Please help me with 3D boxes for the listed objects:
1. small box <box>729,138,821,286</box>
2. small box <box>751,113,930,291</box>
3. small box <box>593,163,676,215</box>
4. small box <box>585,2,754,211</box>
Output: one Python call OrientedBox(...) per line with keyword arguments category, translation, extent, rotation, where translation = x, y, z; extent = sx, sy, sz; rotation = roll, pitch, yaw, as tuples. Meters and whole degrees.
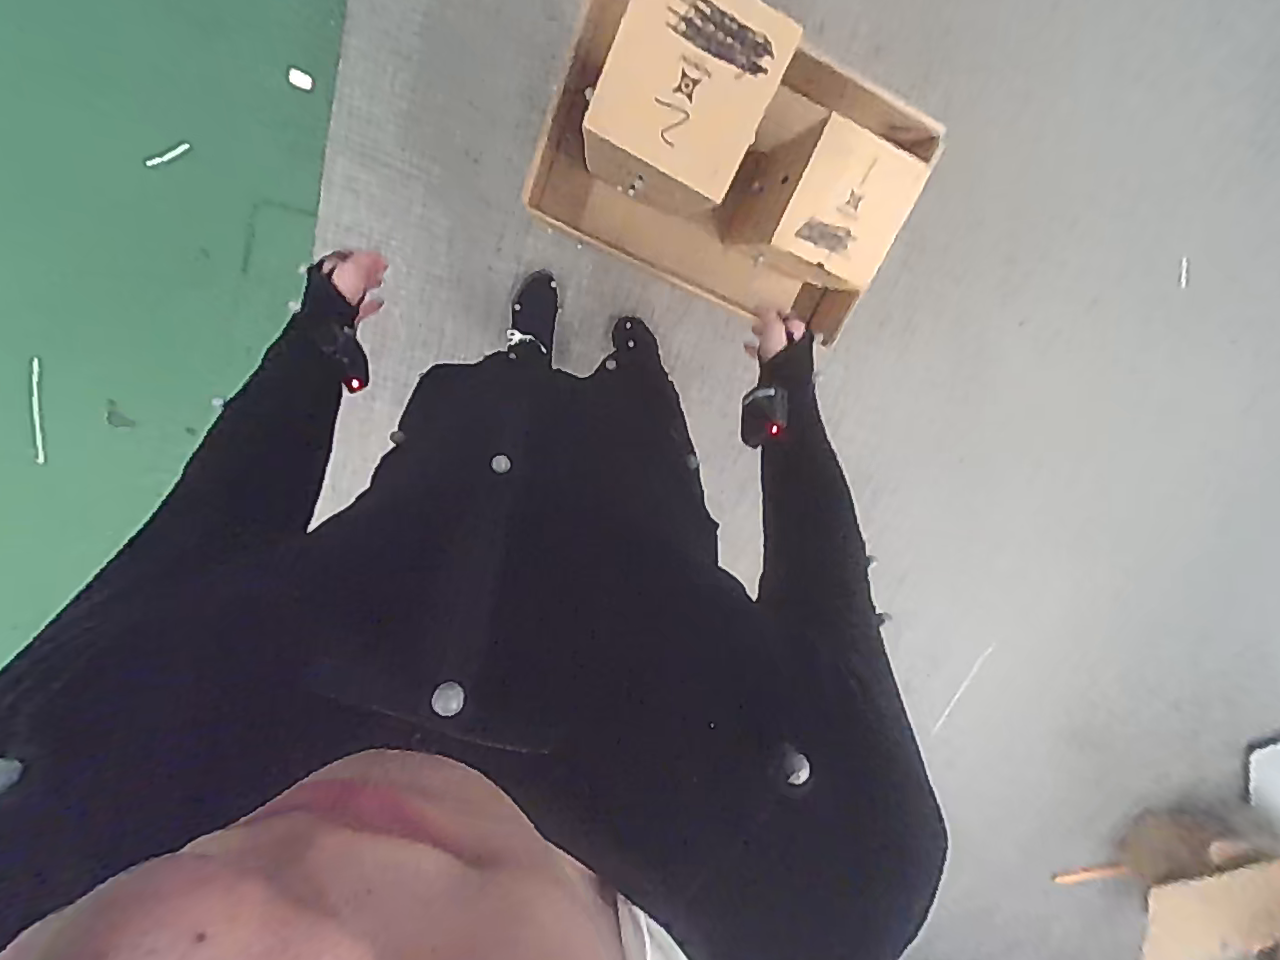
OrientedBox(category="small box", translation=(0.274, -0.472, 0.974), extent=(0.168, 0.176, 0.179), rotation=(22, 110, -12))
OrientedBox(category="small box", translation=(0.286, -0.408, 0.822), extent=(0.168, 0.176, 0.179), rotation=(21, 109, -12))
OrientedBox(category="small box", translation=(0.023, -0.574, 0.912), extent=(0.168, 0.176, 0.179), rotation=(24, 109, -12))
OrientedBox(category="small box", translation=(0.033, -0.502, 0.765), extent=(0.168, 0.176, 0.179), rotation=(22, 110, -13))
